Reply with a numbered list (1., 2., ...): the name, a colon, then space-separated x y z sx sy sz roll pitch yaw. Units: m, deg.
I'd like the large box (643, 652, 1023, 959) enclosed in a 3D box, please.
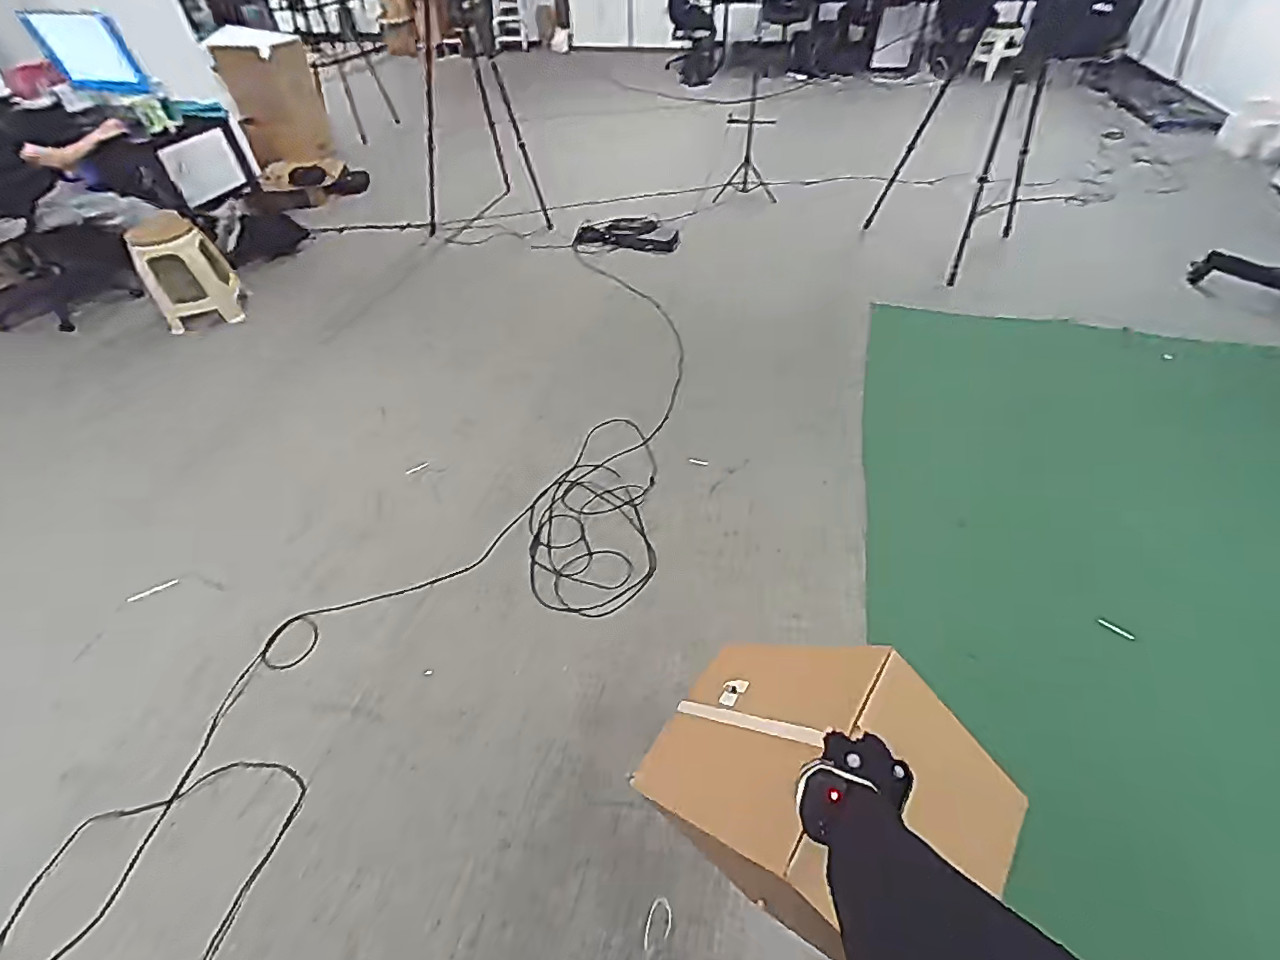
1. large box: 0.279 0.493 0.848 0.320 0.408 0.320 47 61 -6
